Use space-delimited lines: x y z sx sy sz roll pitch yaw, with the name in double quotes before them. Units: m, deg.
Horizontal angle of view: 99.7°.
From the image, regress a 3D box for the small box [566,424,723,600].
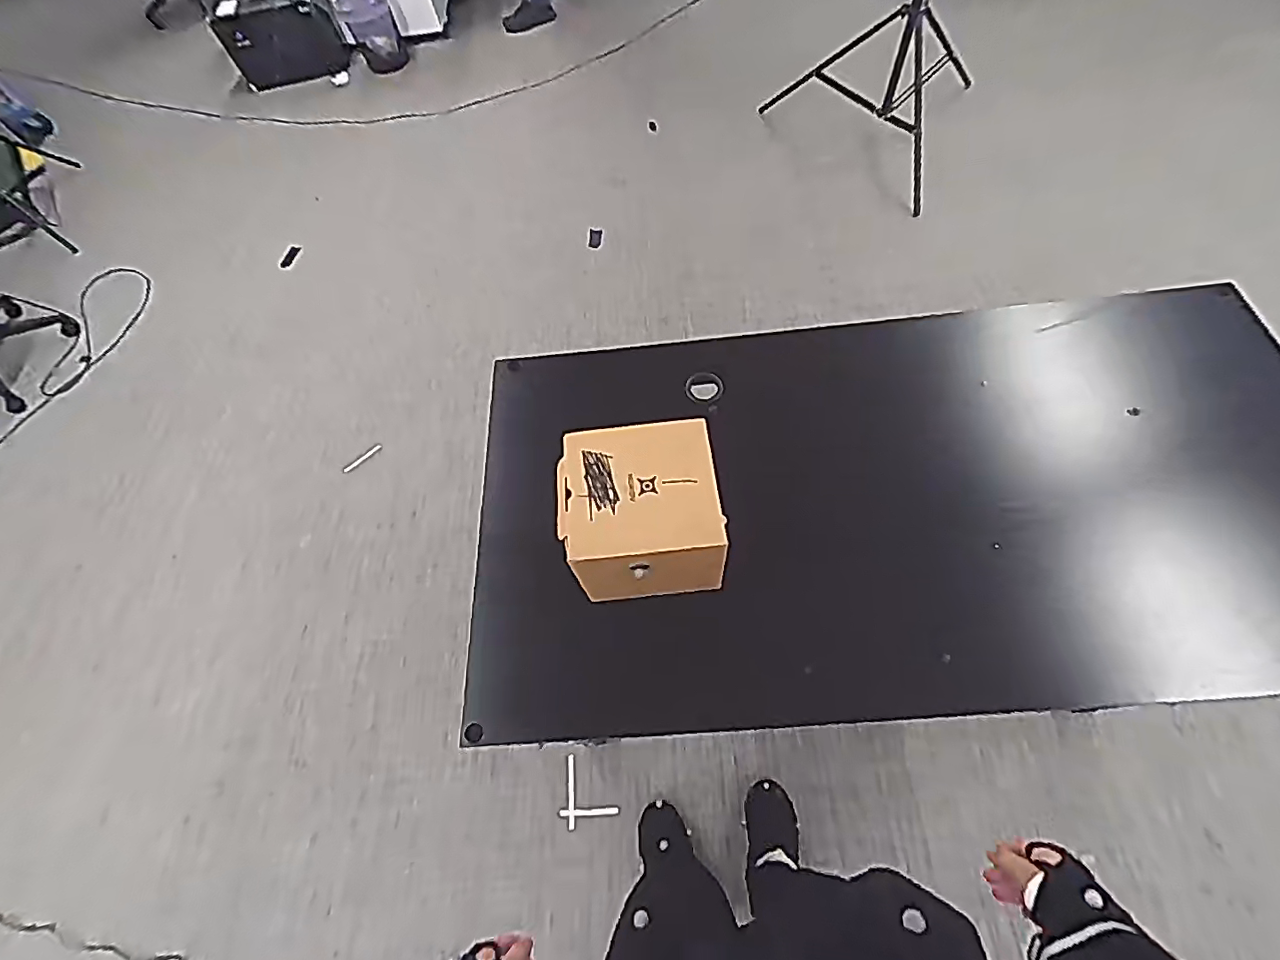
"small box" 0.007 0.049 0.698 0.179 0.176 0.168 -6 62 2
